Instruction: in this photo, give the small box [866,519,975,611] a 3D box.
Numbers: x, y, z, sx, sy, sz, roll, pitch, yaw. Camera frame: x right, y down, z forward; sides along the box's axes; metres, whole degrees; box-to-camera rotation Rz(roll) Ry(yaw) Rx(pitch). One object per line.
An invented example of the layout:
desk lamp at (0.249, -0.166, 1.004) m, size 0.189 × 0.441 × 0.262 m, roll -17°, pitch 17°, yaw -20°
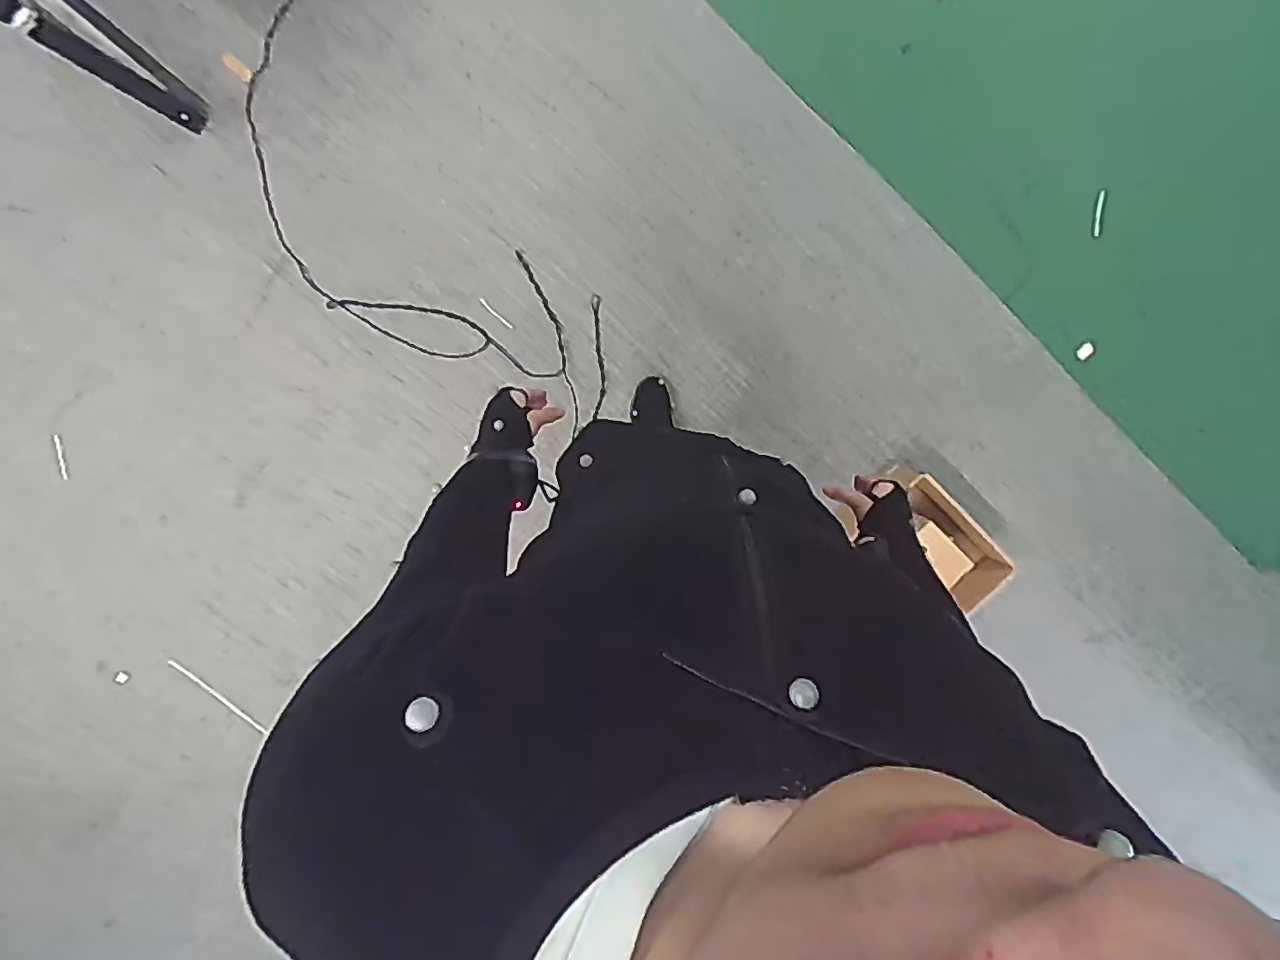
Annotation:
small box at (0.768, 0.226, 1.502) m, size 0.179 × 0.176 × 0.168 m, roll 44°, pitch 96°, yaw -5°
